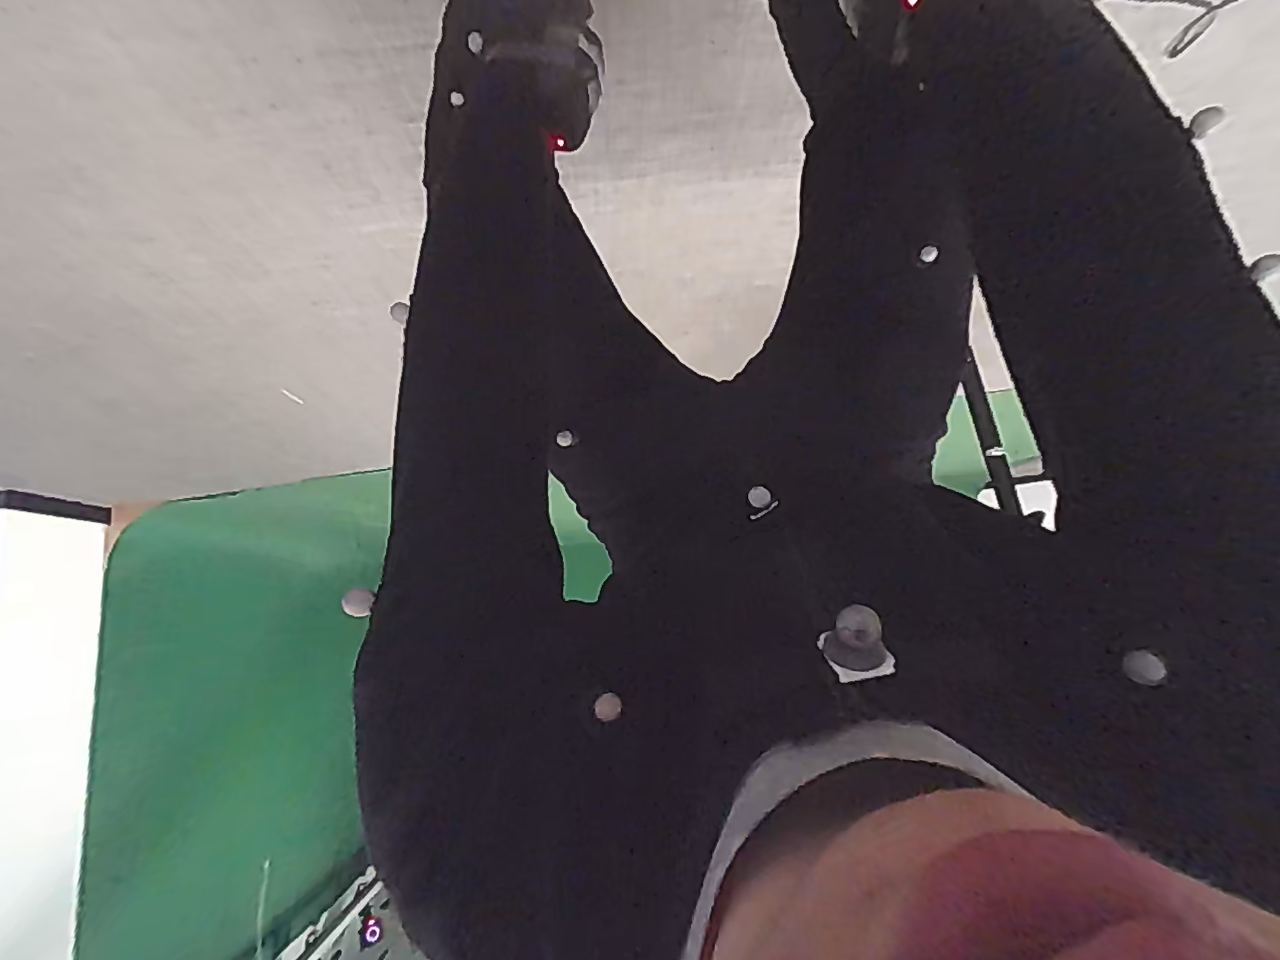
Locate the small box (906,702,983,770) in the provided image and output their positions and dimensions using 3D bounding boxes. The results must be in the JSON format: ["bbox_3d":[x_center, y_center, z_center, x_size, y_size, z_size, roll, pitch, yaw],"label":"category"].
[{"bbox_3d":[1.073,0.904,1.924,0.168,0.176,0.179,-9,168,2],"label":"small box"}]
